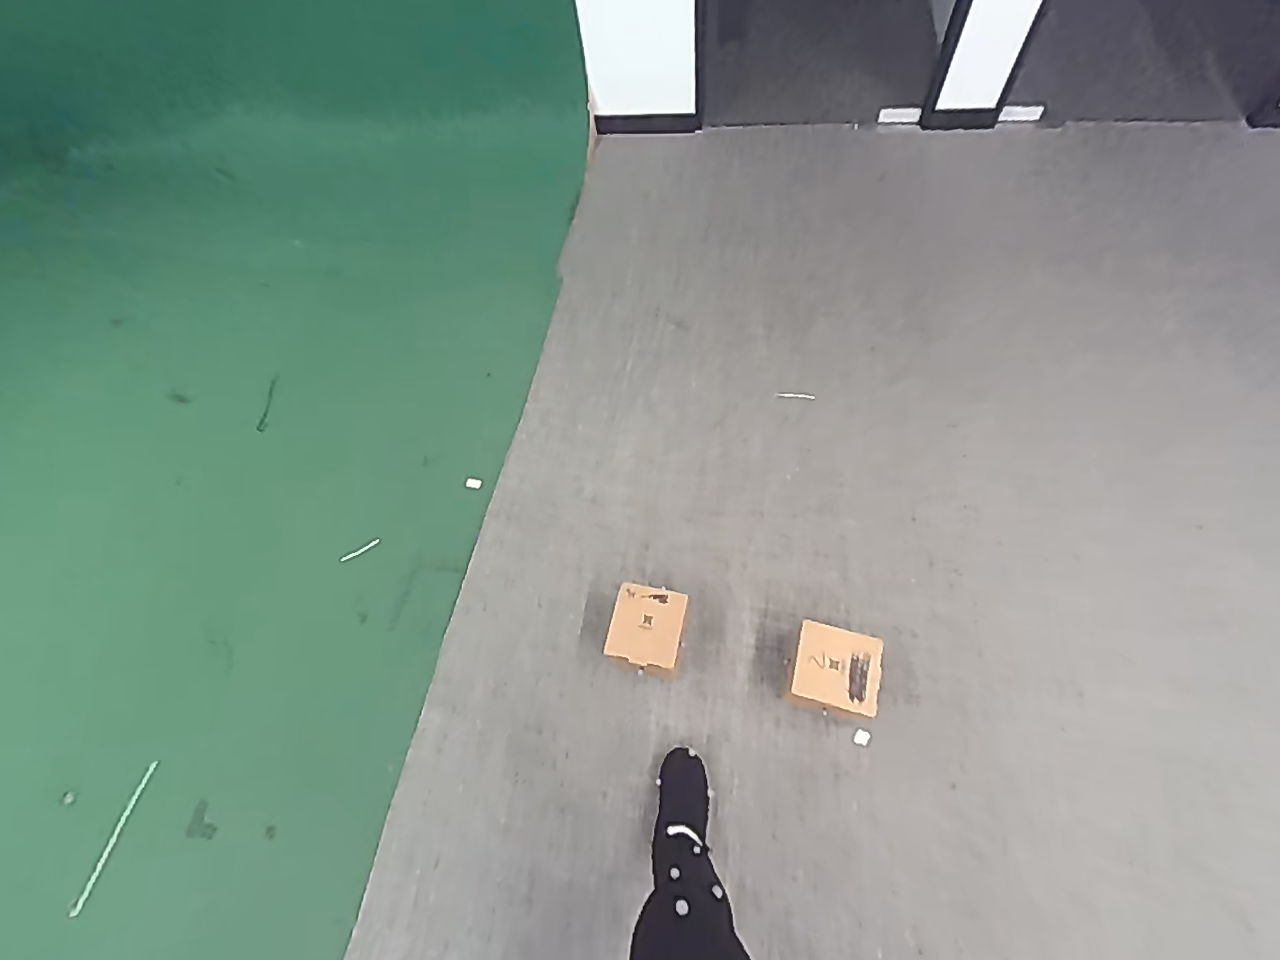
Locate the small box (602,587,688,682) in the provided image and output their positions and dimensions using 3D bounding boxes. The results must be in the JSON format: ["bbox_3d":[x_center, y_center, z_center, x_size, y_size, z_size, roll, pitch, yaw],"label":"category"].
[{"bbox_3d":[0.021,0.382,1.318,0.168,0.176,0.179,10,64,11],"label":"small box"}]
